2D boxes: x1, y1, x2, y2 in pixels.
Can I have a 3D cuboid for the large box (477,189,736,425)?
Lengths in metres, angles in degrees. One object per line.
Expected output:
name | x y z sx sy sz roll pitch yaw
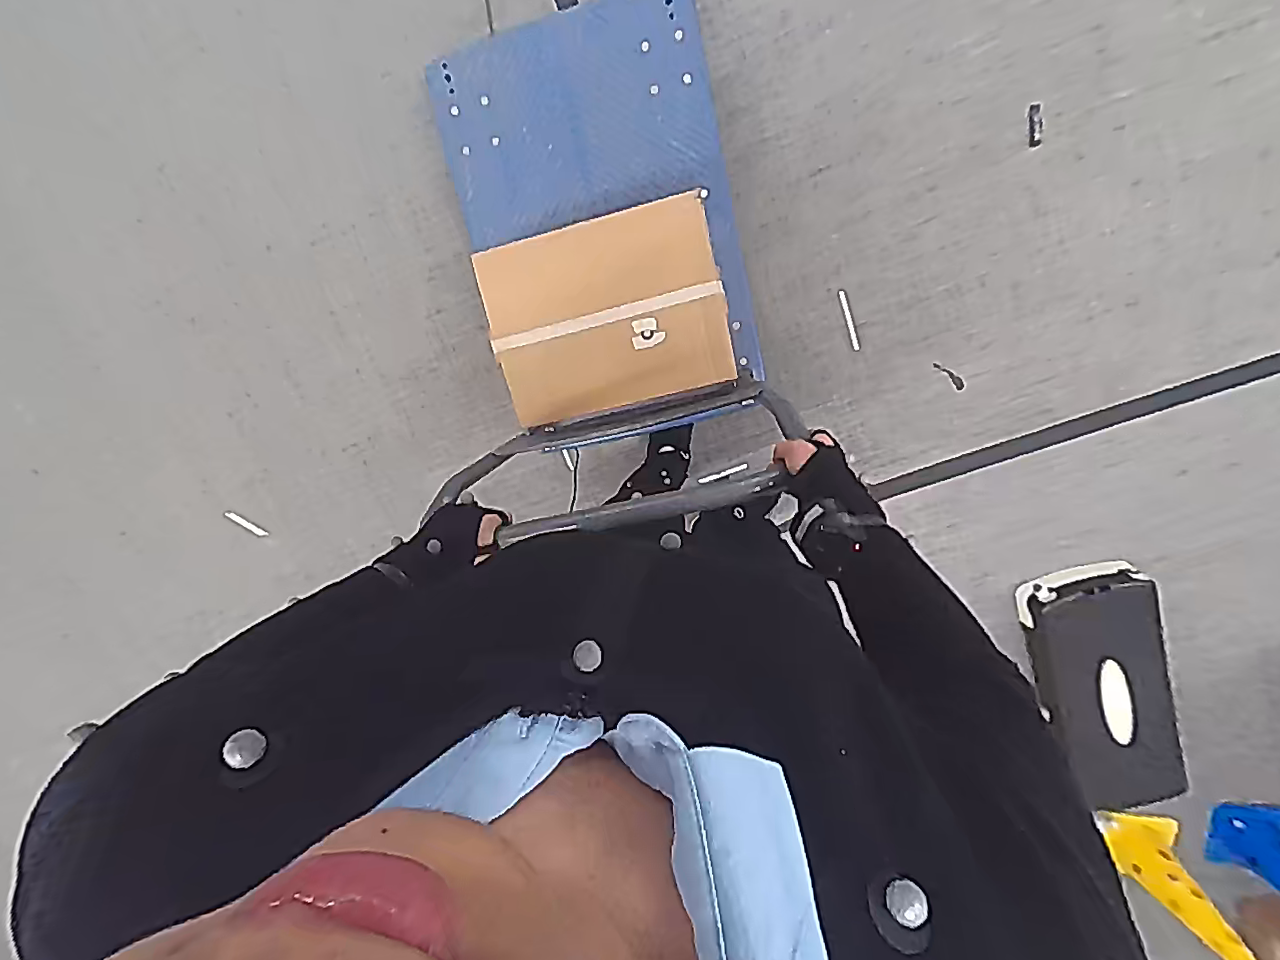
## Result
large box | -0.047 -0.321 1.085 0.408 0.320 0.320 -12 102 7
